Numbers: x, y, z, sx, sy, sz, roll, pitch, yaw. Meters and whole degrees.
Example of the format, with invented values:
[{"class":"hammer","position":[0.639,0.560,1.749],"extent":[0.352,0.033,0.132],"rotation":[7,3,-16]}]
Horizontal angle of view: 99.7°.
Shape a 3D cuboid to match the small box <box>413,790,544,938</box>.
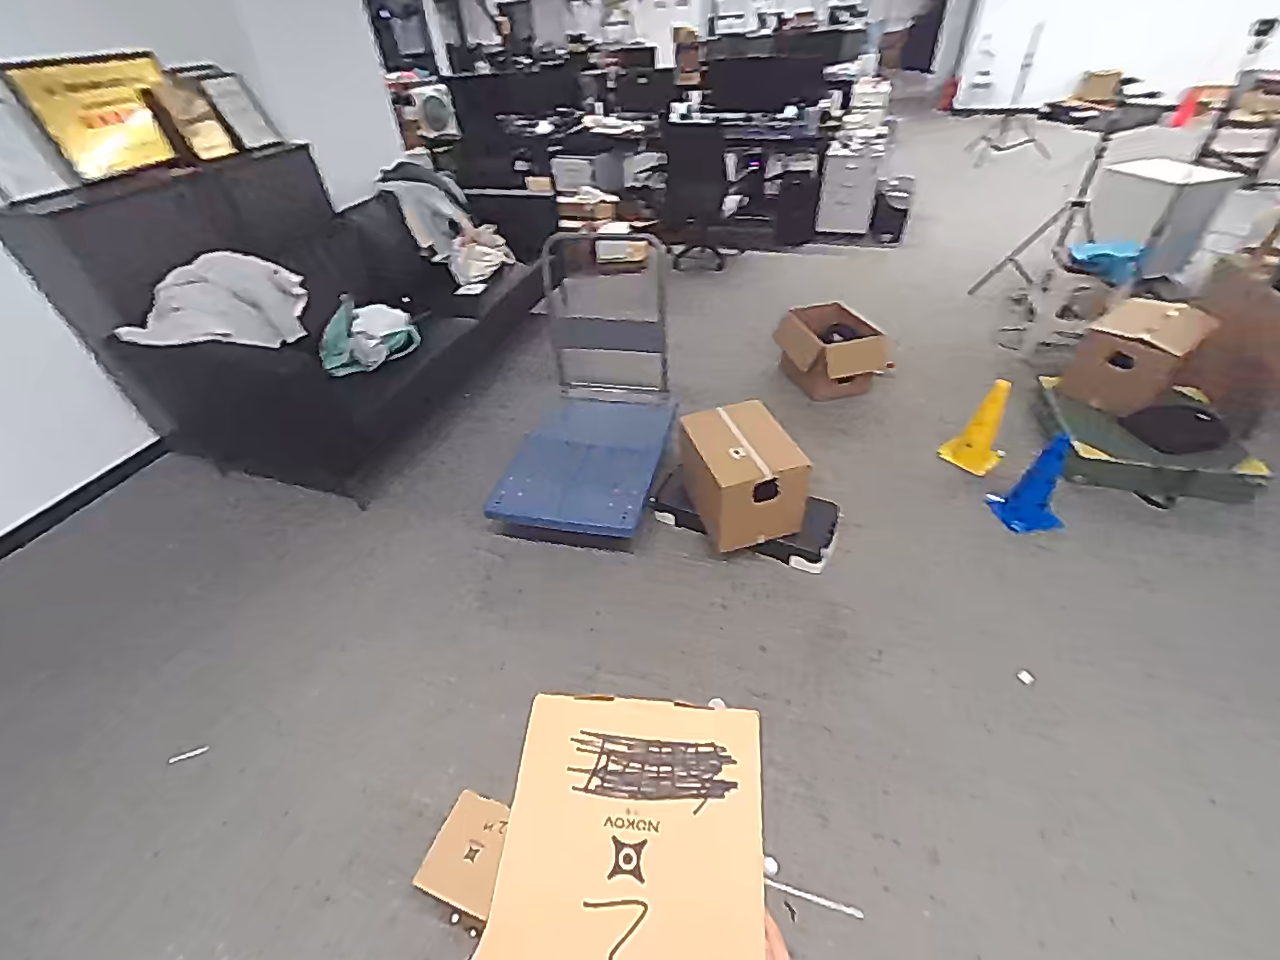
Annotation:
[{"class":"small box","position":[-0.307,0.764,1.073],"extent":[0.168,0.176,0.179],"rotation":[12,43,18]}]
